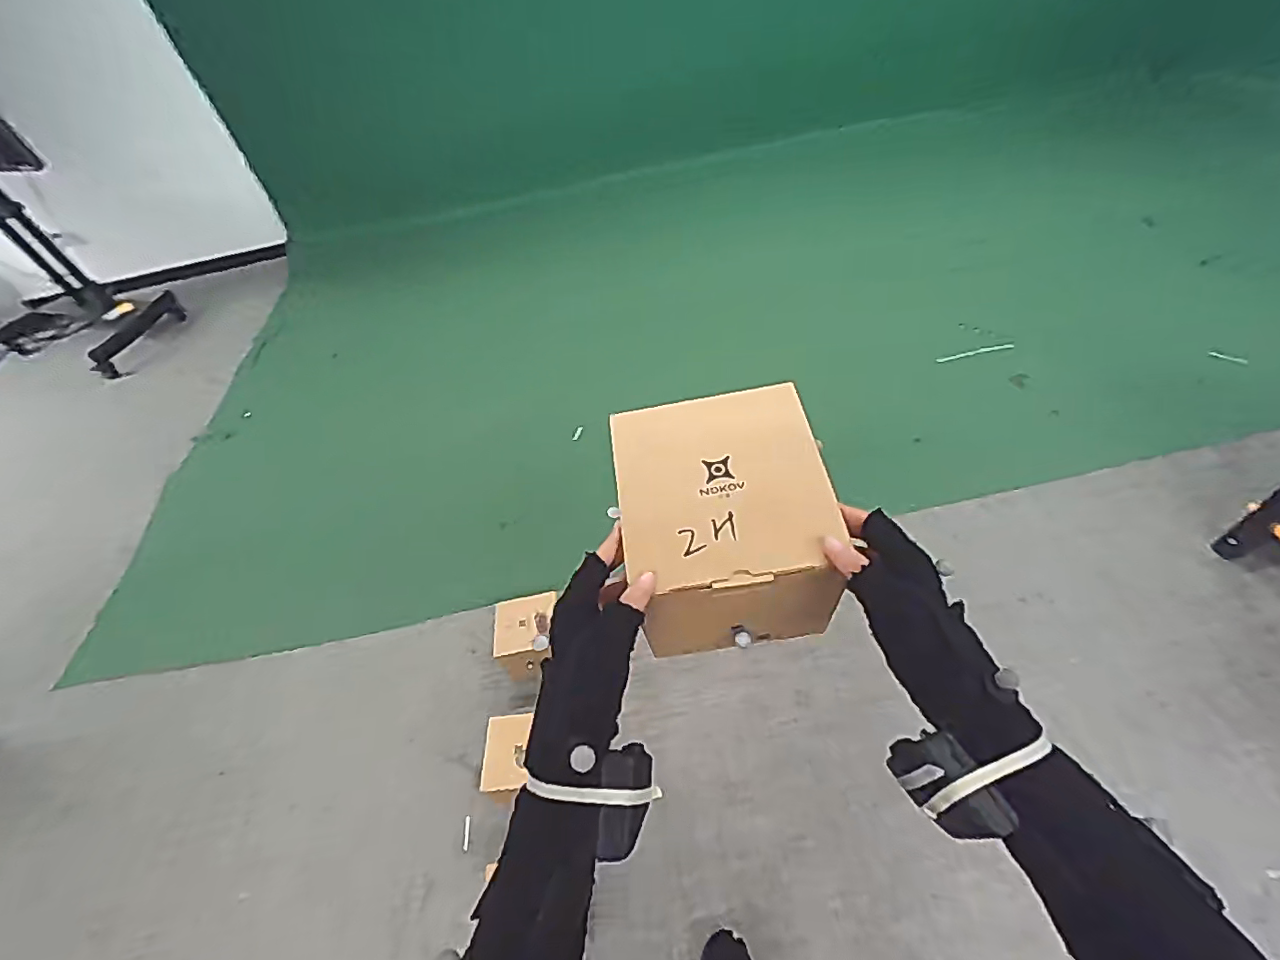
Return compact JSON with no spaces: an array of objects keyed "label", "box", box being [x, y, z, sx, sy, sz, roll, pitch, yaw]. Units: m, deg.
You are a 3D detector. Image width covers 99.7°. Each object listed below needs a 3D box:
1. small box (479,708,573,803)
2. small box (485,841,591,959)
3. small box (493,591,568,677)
[{"label":"small box","box":[-0.270,0.677,1.321,0.179,0.176,0.168,-7,49,3]},{"label":"small box","box":[-0.211,0.883,1.132,0.179,0.176,0.168,-13,50,-4]},{"label":"small box","box":[-0.303,0.439,1.532,0.179,0.176,0.168,-12,49,1]}]
